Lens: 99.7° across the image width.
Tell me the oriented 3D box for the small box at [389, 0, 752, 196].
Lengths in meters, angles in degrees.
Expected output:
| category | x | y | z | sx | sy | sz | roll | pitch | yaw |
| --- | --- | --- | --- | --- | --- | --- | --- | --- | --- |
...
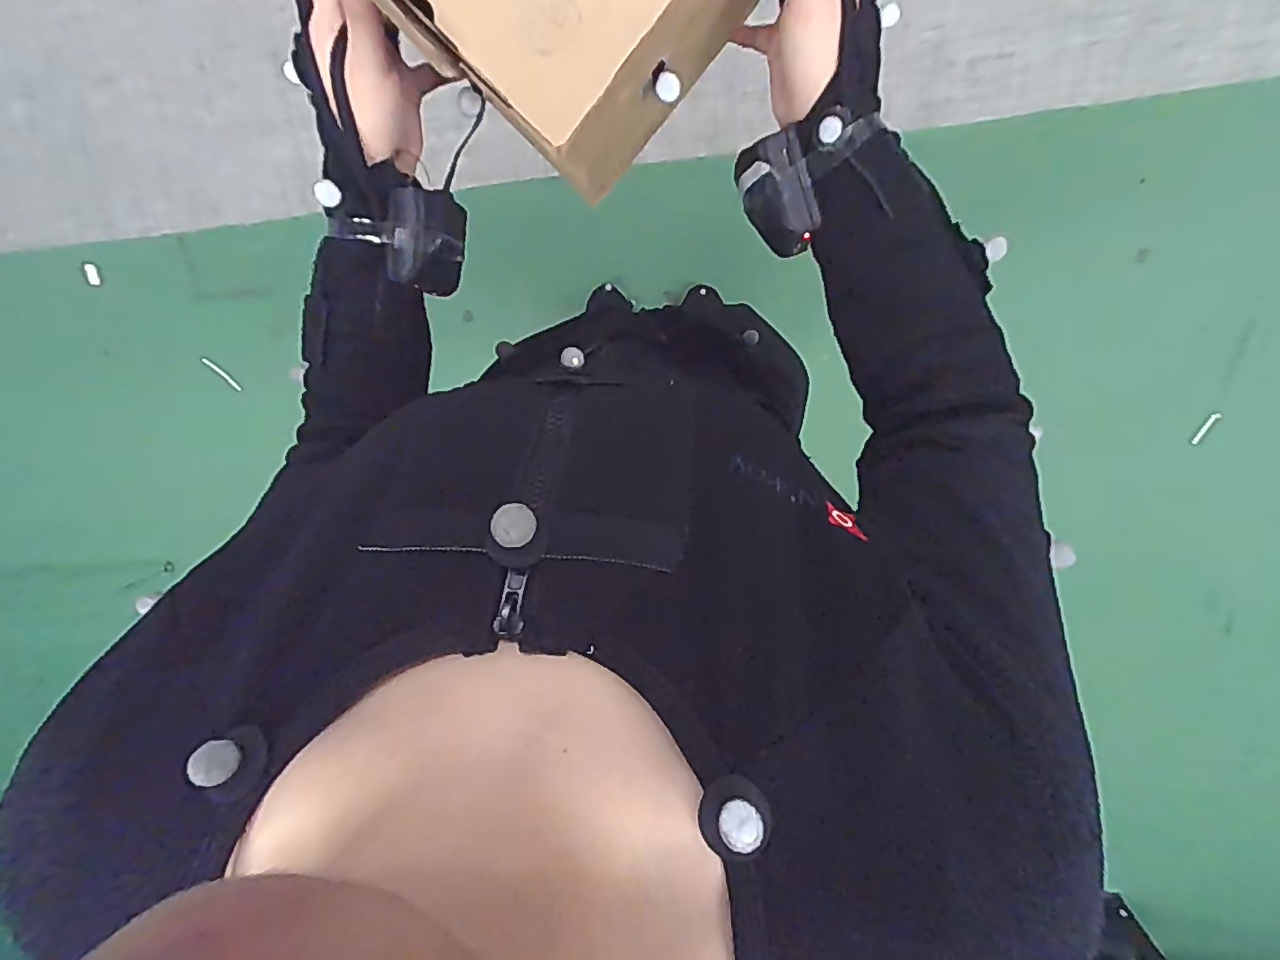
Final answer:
| category | x | y | z | sx | sy | sz | roll | pitch | yaw |
| --- | --- | --- | --- | --- | --- | --- | --- | --- | --- |
| small box | -0.036 | -0.296 | 0.307 | 0.168 | 0.176 | 0.179 | 41 | 106 | -11 |
